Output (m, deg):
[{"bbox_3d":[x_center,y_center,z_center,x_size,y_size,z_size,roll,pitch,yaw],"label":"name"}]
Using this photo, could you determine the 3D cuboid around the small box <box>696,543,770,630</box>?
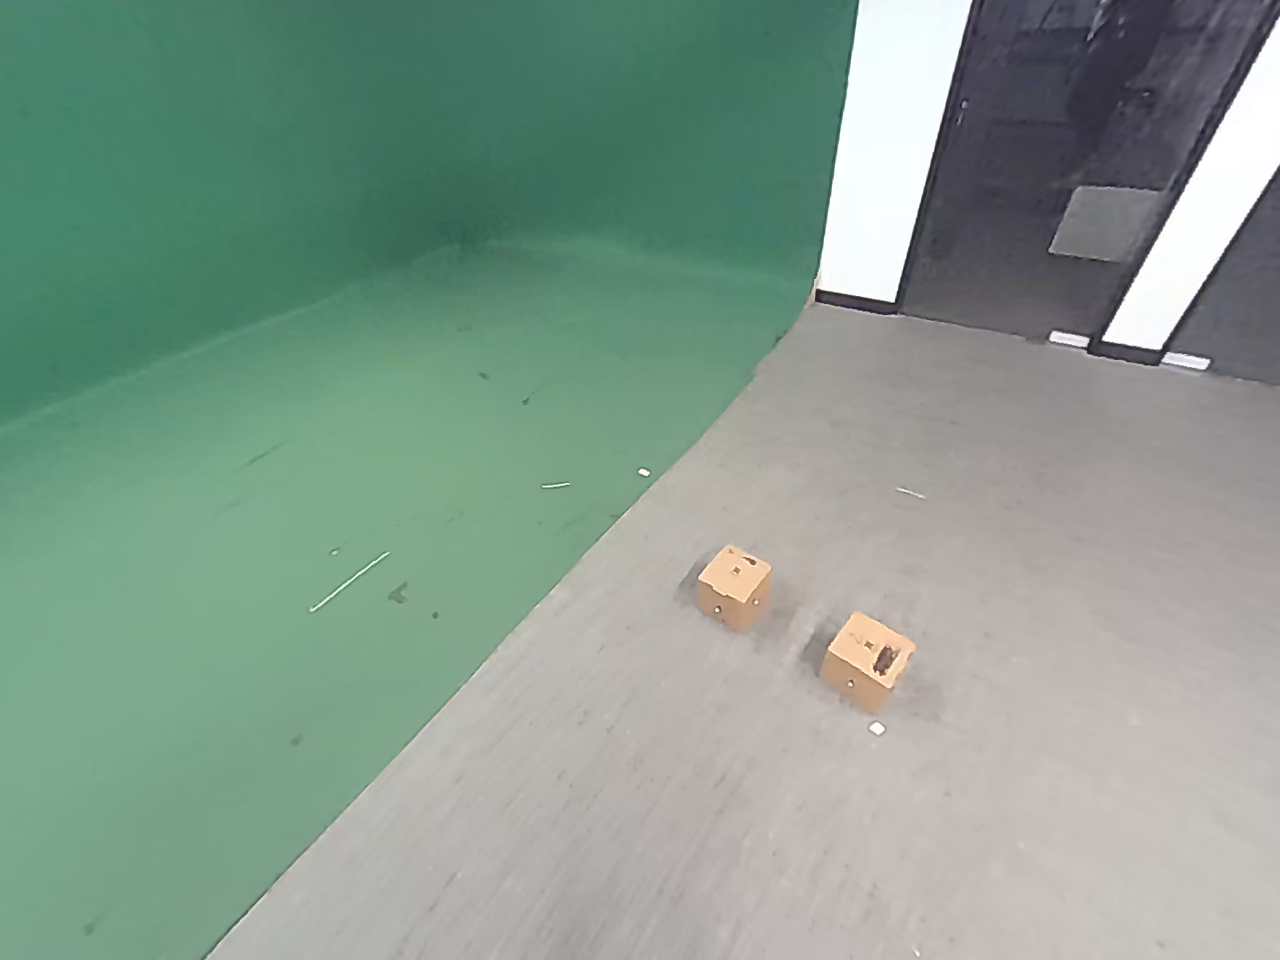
[{"bbox_3d":[0.296,0.340,1.717,0.168,0.176,0.179,27,53,30],"label":"small box"}]
